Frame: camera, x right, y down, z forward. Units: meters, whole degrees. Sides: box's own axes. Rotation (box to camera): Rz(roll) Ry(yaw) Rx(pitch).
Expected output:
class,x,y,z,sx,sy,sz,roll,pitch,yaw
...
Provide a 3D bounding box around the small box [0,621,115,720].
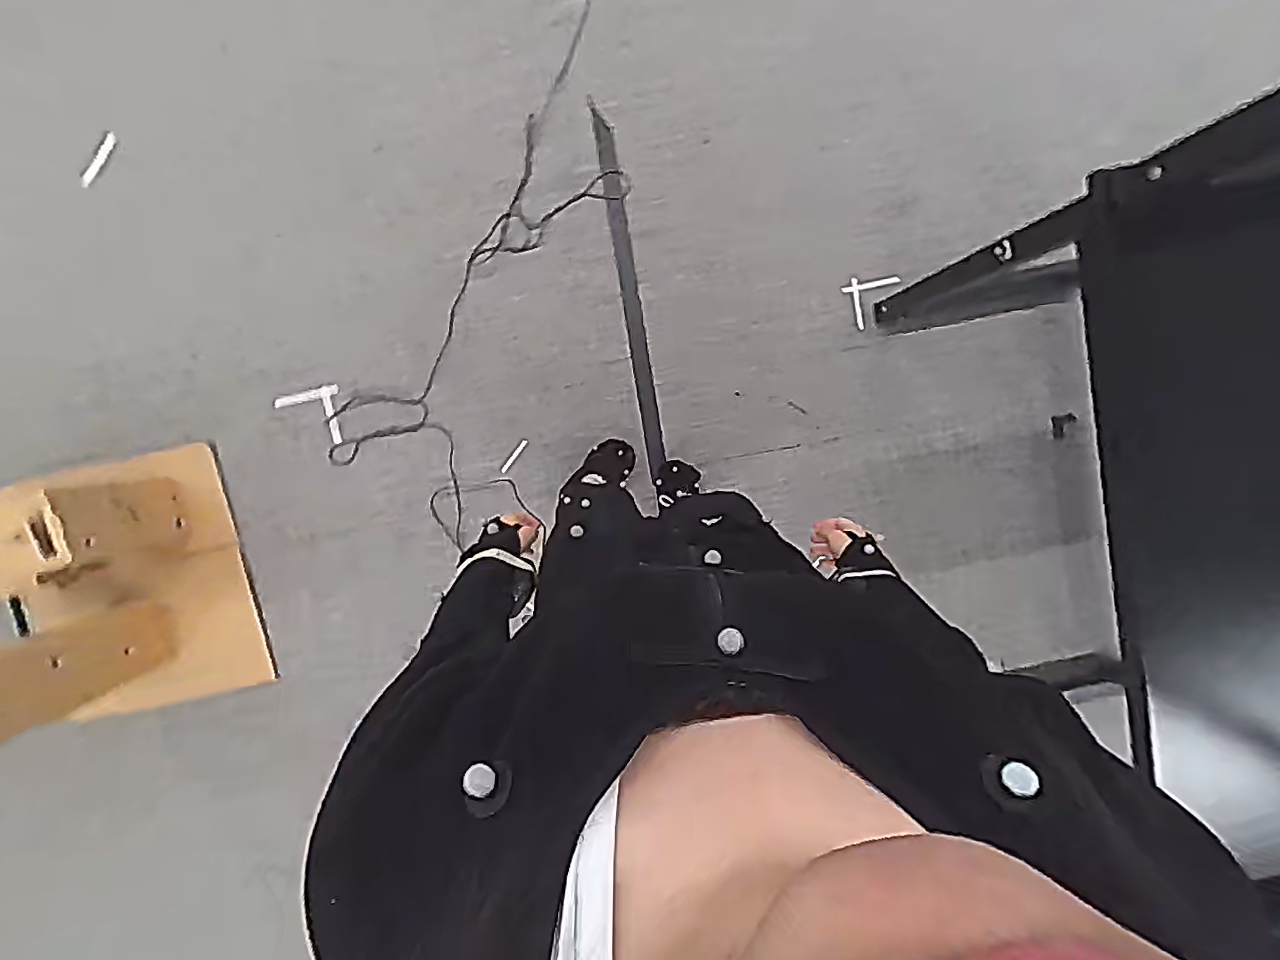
class,x,y,z,sx,sy,sz,roll,pitch,yaw
small box,-1.394,0.440,1.260,0.168,0.176,0.179,-7,97,0

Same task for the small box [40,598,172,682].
class,x,y,z,sx,sy,sz,roll,pitch,yaw
small box,-1.395,0.421,1.424,0.168,0.176,0.179,-8,97,0

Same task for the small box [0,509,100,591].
class,x,y,z,sx,sy,sz,roll,pitch,yaw
small box,-1.577,0.177,1.398,0.168,0.176,0.179,-16,96,2

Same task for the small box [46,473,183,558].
class,x,y,z,sx,sy,sz,roll,pitch,yaw
small box,-1.333,0.084,1.391,0.179,0.176,0.168,-16,96,1

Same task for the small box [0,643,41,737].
class,x,y,z,sx,sy,sz,roll,pitch,yaw
small box,-1.395,0.456,1.097,0.168,0.176,0.179,-10,97,-1
